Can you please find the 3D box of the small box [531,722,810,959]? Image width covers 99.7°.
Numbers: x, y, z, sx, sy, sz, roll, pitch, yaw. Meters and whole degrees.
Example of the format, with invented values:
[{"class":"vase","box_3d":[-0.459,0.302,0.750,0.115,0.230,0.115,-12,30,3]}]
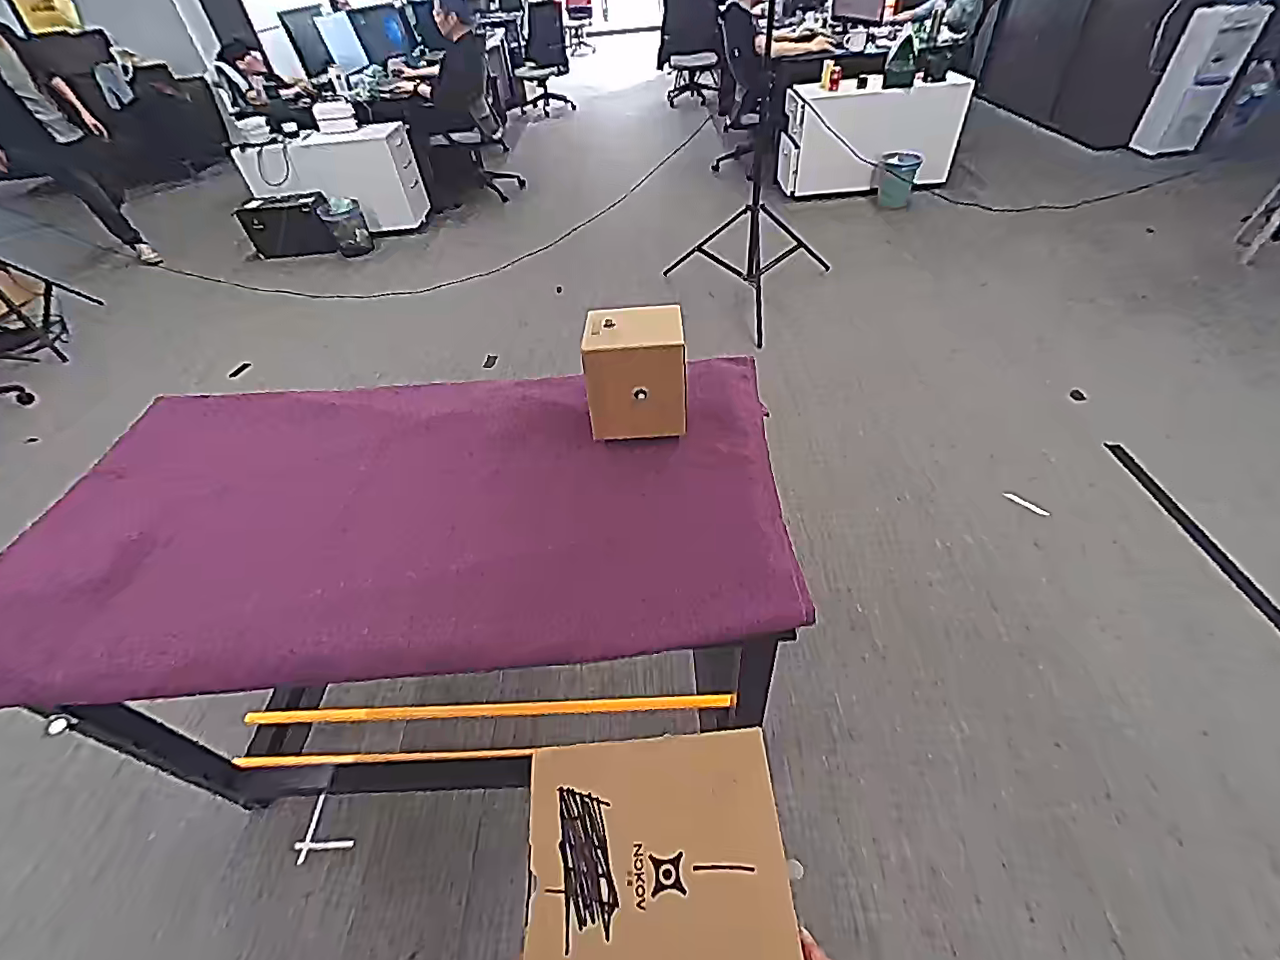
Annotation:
[{"class":"small box","box_3d":[0.027,0.303,0.425,0.179,0.176,0.168,-8,54,5]}]
